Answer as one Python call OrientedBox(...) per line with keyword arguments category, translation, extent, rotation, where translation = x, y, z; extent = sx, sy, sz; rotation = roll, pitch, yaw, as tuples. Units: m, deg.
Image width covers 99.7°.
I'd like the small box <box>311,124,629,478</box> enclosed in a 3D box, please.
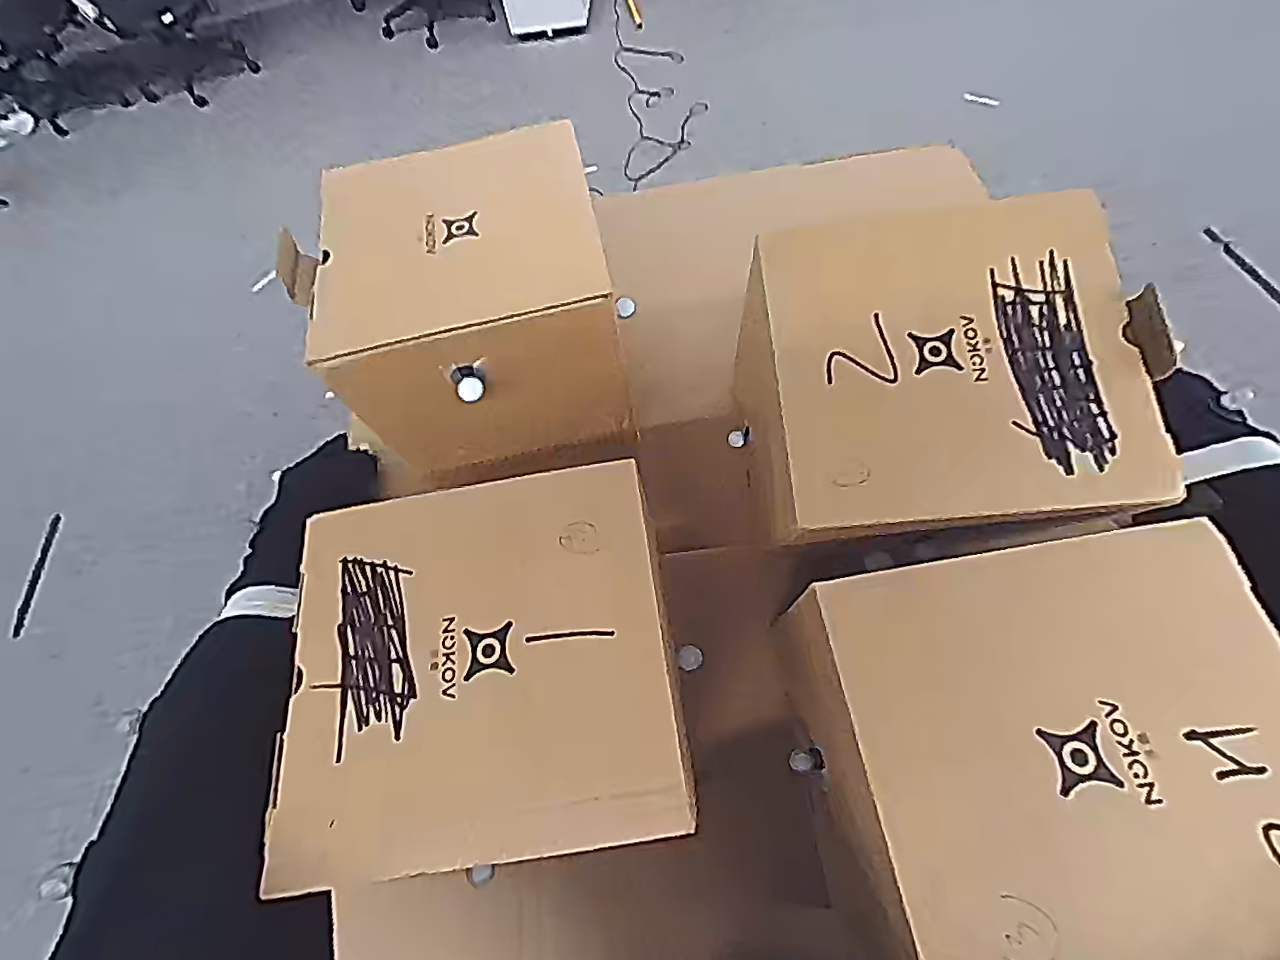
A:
OrientedBox(category="small box", translation=(-0.109, -0.121, 0.411), extent=(0.179, 0.176, 0.168), rotation=(-13, 63, 1))
